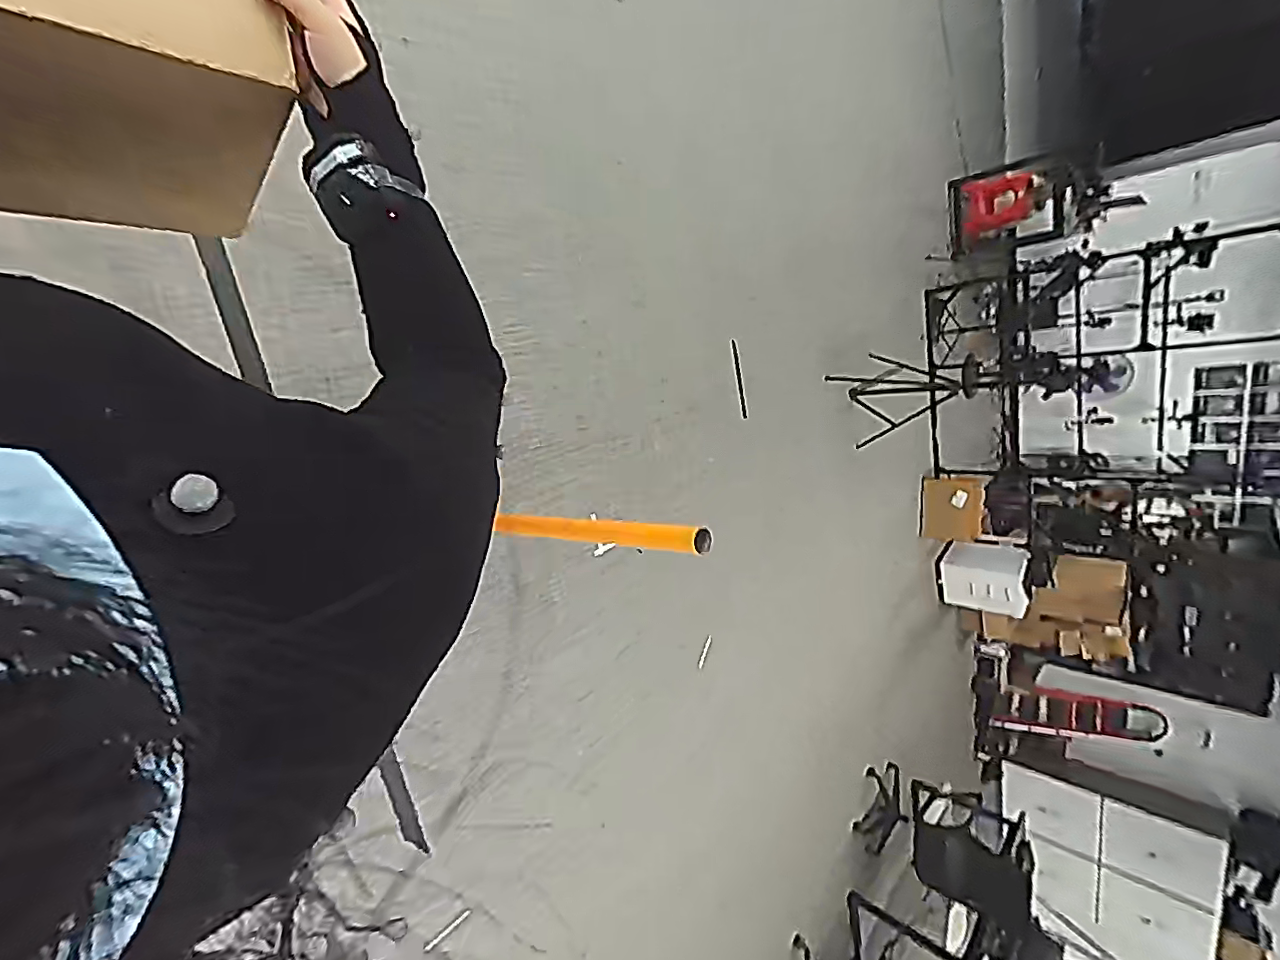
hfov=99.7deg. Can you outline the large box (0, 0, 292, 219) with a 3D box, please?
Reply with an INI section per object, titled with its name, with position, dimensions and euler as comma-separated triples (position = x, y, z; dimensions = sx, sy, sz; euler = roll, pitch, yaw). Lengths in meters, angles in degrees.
[large box]
position = -0.528, -0.416, 0.374
dimensions = 0.408, 0.320, 0.320
euler = -13, 96, -42
